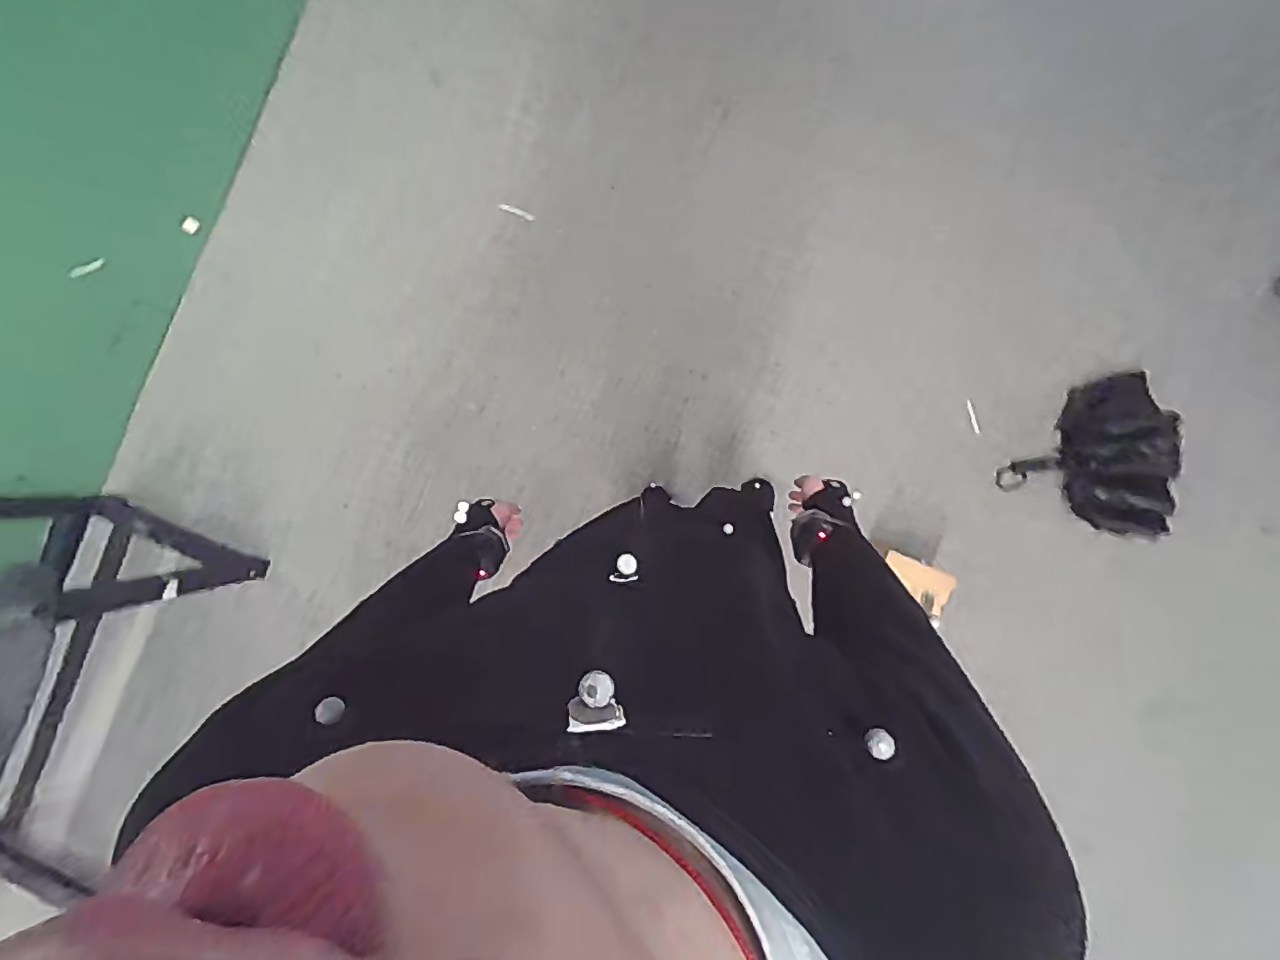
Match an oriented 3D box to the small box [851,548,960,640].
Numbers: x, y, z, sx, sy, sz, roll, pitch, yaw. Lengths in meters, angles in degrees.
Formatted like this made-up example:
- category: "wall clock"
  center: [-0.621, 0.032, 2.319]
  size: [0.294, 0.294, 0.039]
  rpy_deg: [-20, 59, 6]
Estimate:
- category: "small box"
  center: [0.682, 0.288, 1.412]
  size: [0.179, 0.176, 0.168]
  rpy_deg: [24, 92, 7]
